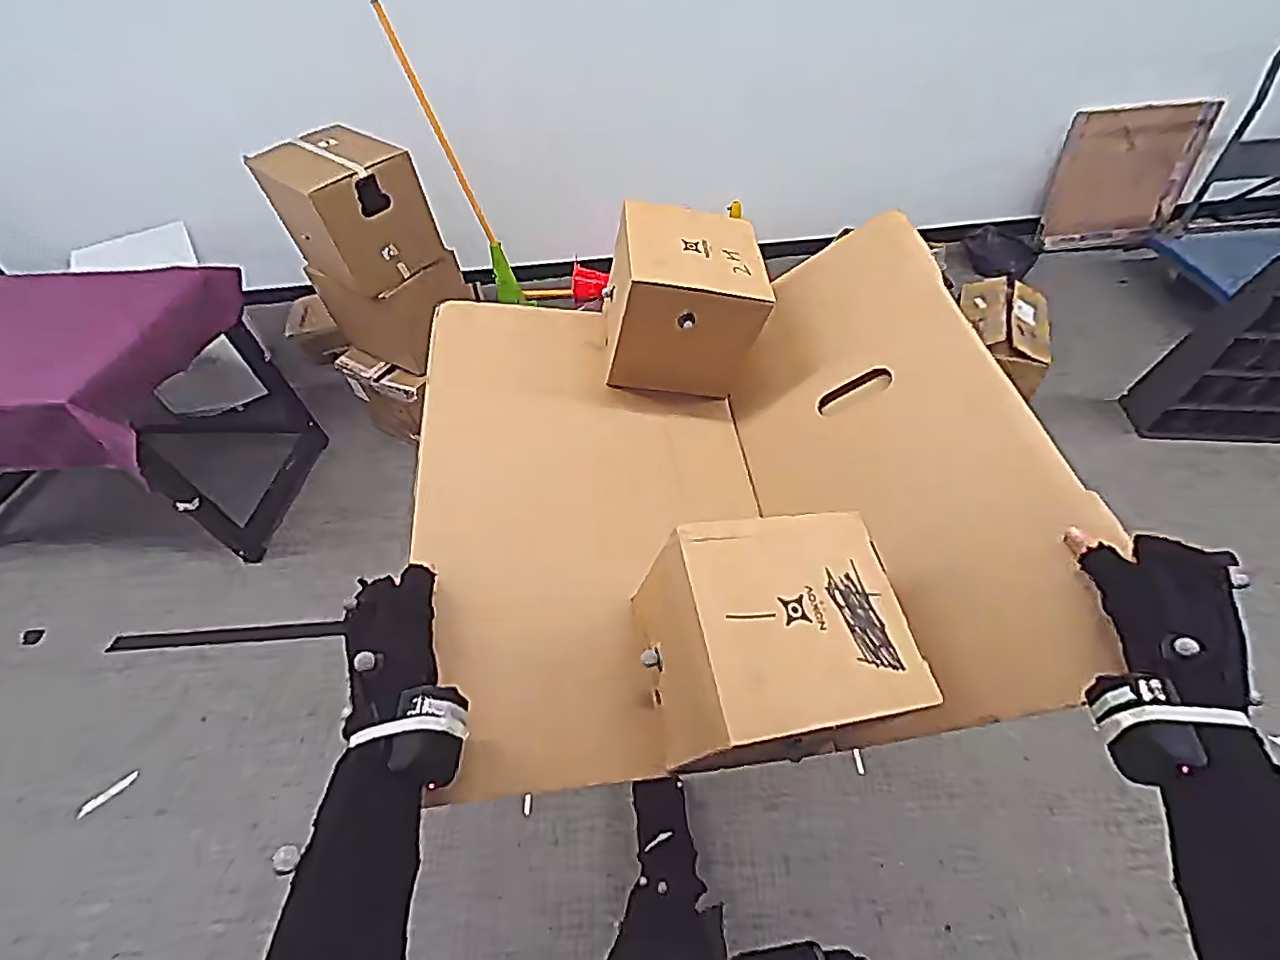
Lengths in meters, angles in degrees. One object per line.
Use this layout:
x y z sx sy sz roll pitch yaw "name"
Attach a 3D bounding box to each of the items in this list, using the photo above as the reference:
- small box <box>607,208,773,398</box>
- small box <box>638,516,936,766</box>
0.052 -0.228 0.723 0.179 0.176 0.168 5 56 -12 "small box"
0.110 0.146 0.486 0.179 0.176 0.168 -3 58 -16 "small box"
